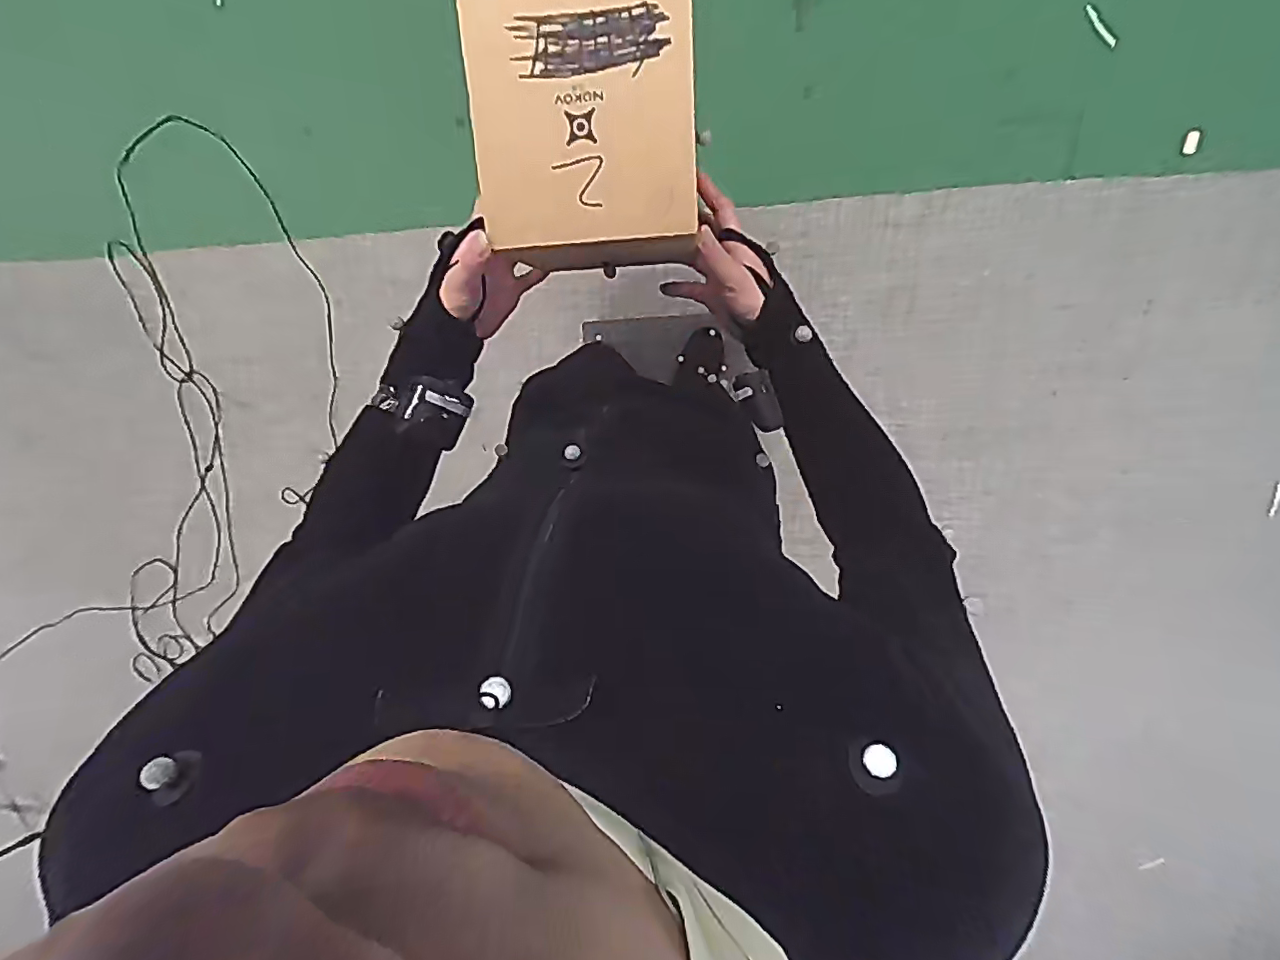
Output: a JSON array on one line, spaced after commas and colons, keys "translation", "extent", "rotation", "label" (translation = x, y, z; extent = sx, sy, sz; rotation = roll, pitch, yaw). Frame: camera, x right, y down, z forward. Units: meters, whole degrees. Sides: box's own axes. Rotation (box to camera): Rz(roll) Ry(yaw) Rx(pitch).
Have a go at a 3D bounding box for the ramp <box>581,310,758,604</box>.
[{"translation": [0.121, -0.007, 1.701], "extent": [0.509, 0.206, 0.991], "rotation": [-3, 106, 8], "label": "ramp"}]
